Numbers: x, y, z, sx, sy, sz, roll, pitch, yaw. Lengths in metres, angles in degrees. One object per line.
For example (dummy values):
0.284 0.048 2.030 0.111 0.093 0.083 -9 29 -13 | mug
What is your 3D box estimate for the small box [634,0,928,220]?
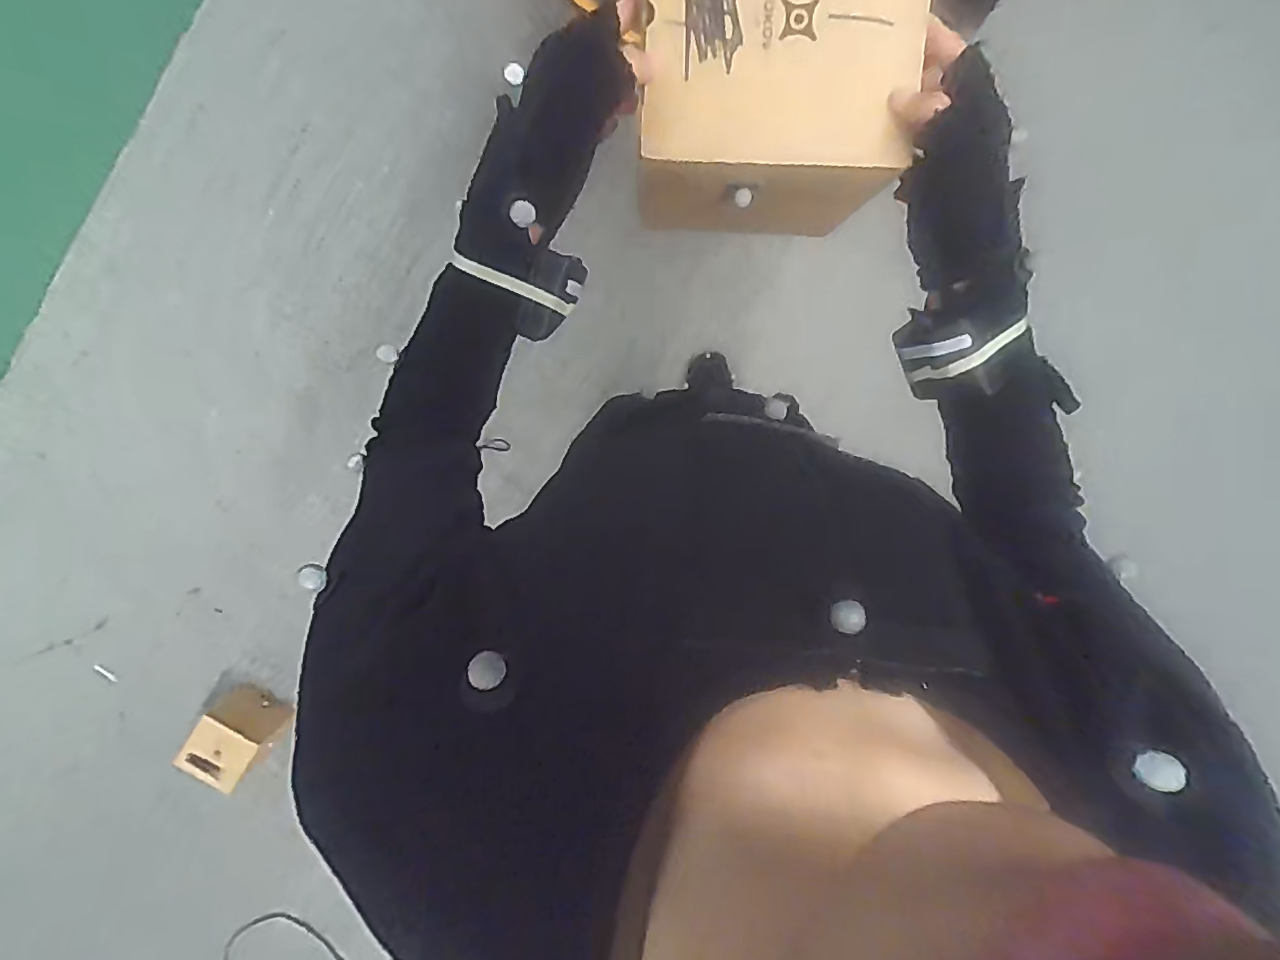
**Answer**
0.087 -0.306 0.403 0.179 0.176 0.168 2 101 0 | small box
